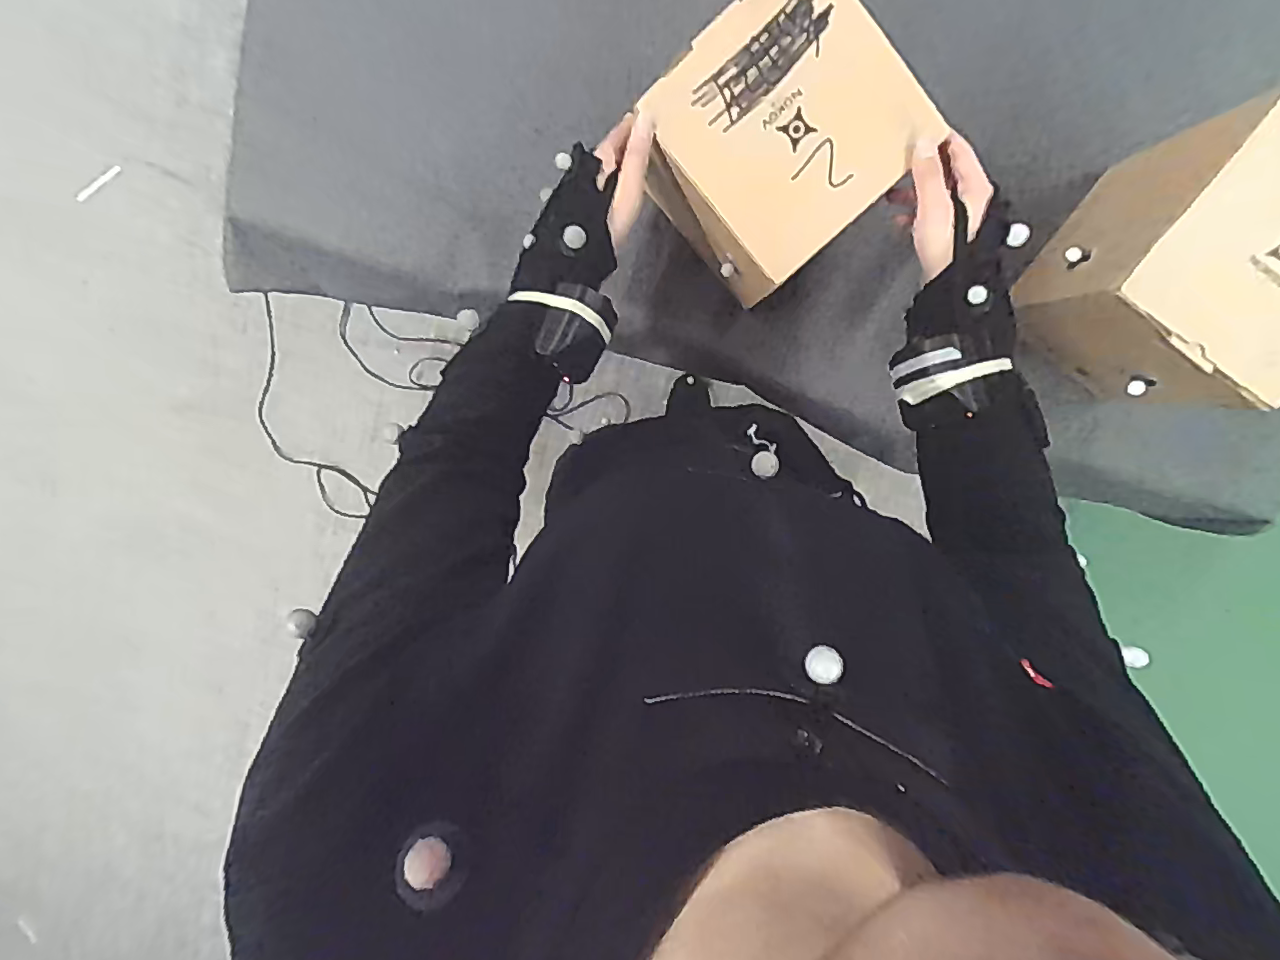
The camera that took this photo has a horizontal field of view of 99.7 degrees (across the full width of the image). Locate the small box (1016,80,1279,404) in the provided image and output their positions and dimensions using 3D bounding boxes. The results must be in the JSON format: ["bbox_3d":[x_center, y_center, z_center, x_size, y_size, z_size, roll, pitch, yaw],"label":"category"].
[{"bbox_3d":[0.480,-0.185,0.471,0.168,0.176,0.179,34,100,-4],"label":"small box"}]
